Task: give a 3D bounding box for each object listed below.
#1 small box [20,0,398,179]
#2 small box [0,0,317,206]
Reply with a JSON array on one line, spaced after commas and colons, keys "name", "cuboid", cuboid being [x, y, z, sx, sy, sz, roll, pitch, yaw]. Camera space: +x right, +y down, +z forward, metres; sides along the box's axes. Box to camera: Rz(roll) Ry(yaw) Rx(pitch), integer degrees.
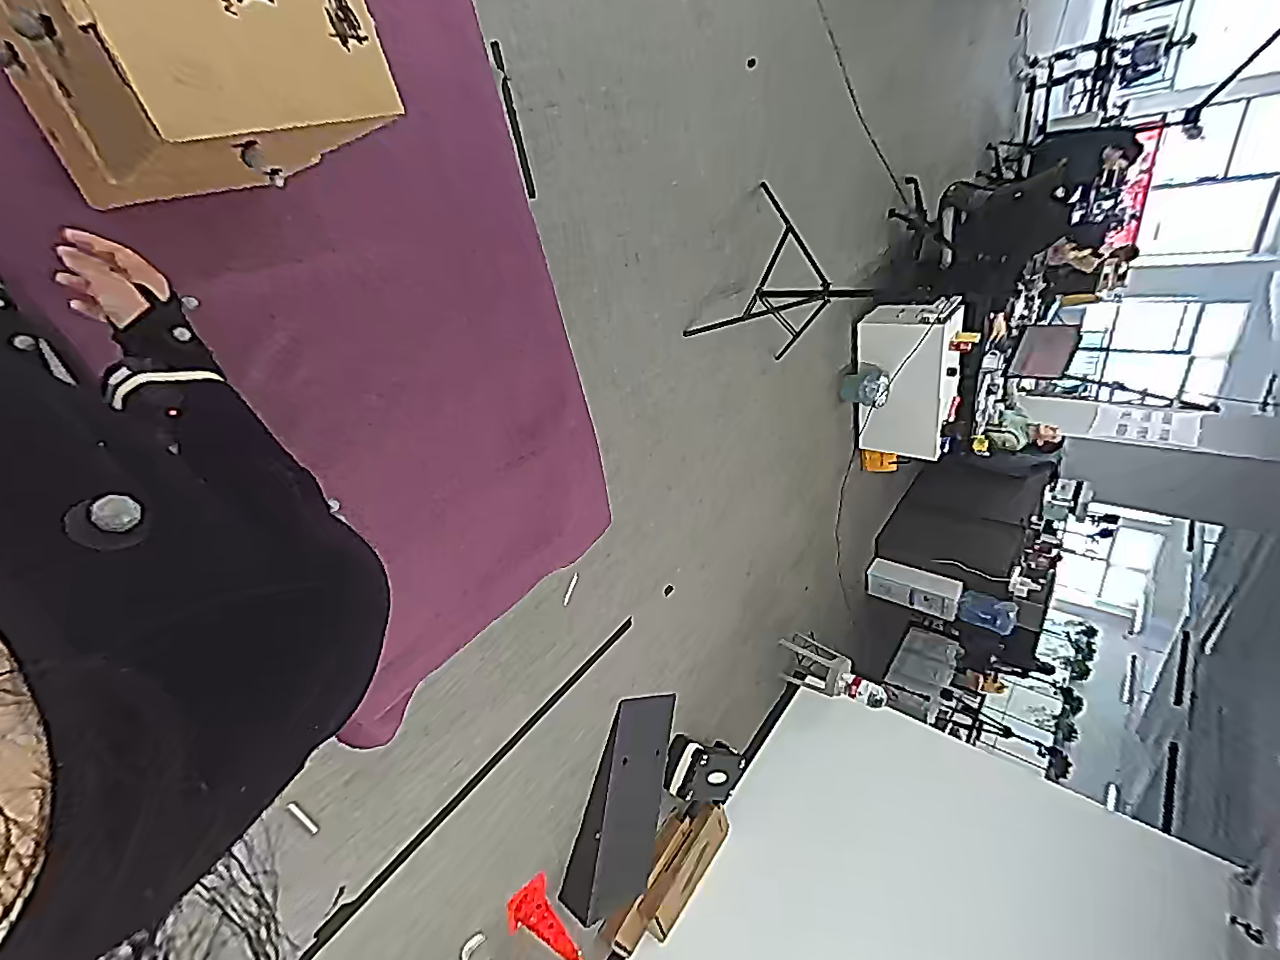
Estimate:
[{"name": "small box", "cuboid": [-0.326, -0.338, 0.403, 0.179, 0.176, 0.168, -39, 130, -36]}, {"name": "small box", "cuboid": [-0.452, -0.366, 0.504, 0.179, 0.176, 0.168, -39, 129, -37]}]
